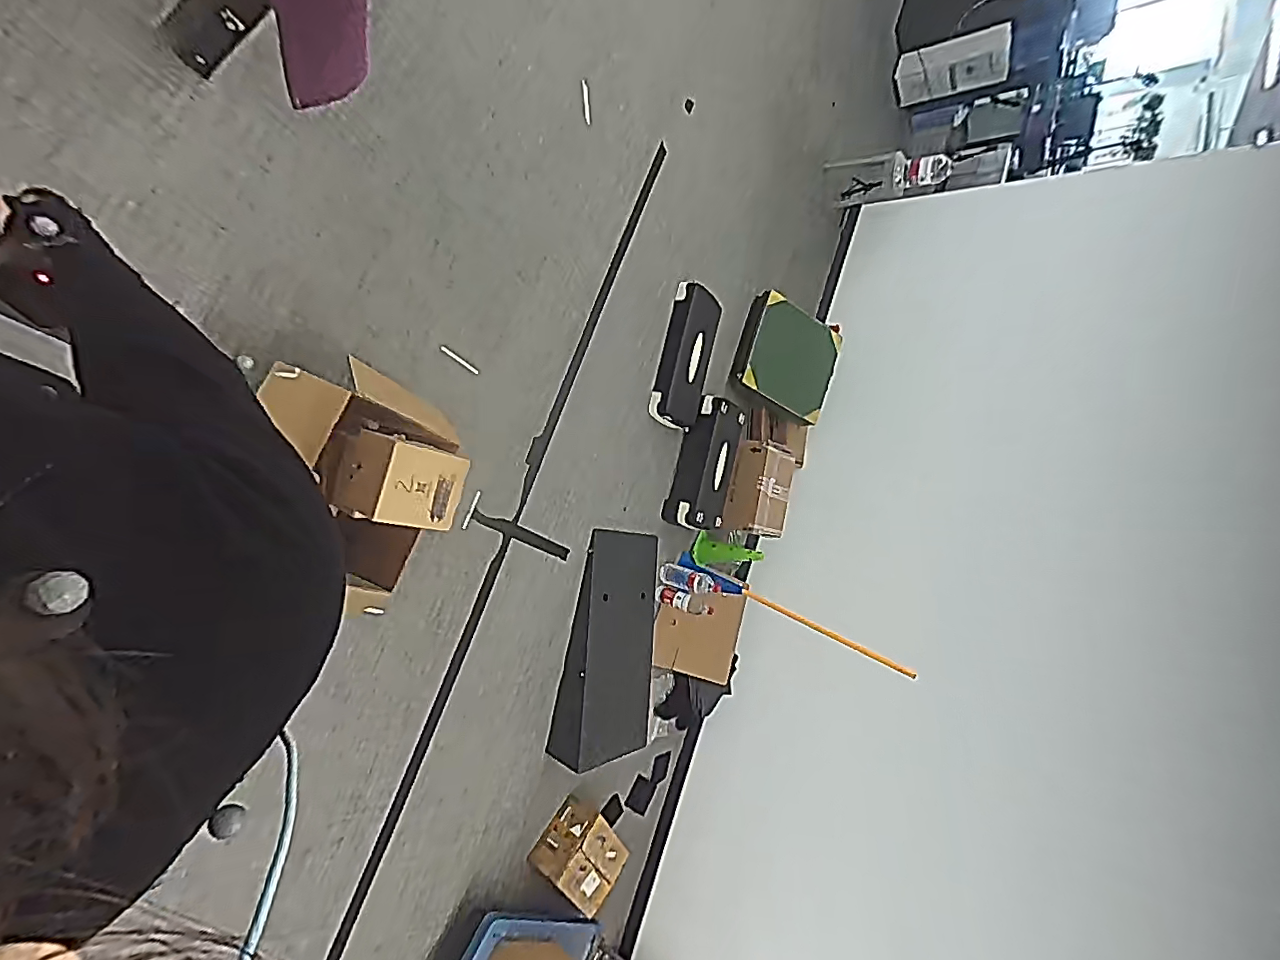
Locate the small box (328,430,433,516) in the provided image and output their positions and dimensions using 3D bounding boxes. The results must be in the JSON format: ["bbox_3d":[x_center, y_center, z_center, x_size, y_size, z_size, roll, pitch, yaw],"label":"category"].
[{"bbox_3d":[-0.622,-0.020,1.289,0.168,0.176,0.179,2,100,-50],"label":"small box"}]
